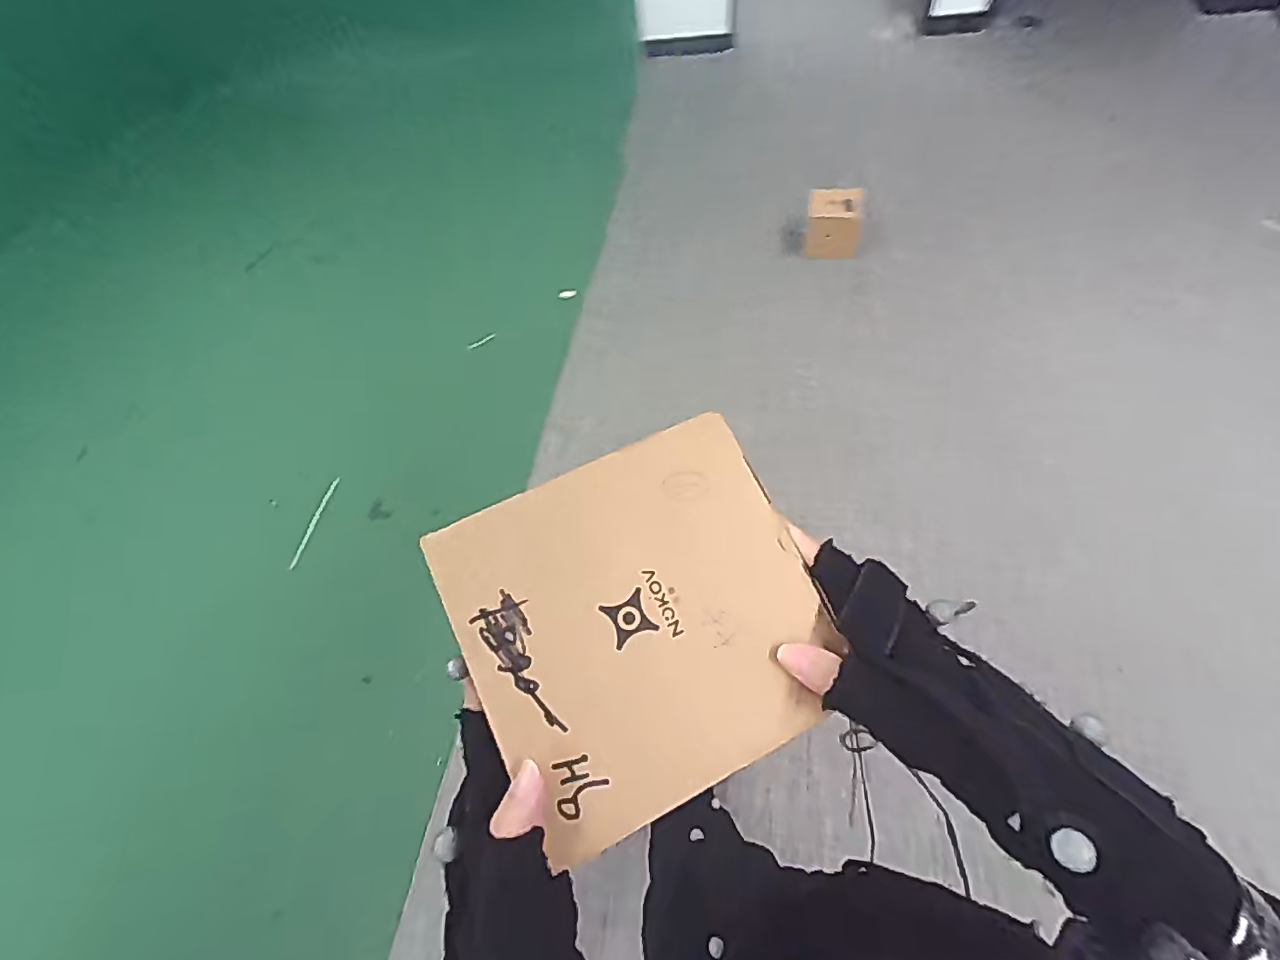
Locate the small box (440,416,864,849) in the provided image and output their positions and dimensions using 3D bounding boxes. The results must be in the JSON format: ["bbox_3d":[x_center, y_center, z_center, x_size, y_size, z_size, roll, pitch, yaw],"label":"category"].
[{"bbox_3d":[-0.001,0.087,0.353,0.179,0.176,0.168,-23,75,-11],"label":"small box"}]

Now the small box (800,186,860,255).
[{"bbox_3d":[0.682,-0.932,1.949,0.179,0.176,0.168,5,62,10],"label":"small box"}]
